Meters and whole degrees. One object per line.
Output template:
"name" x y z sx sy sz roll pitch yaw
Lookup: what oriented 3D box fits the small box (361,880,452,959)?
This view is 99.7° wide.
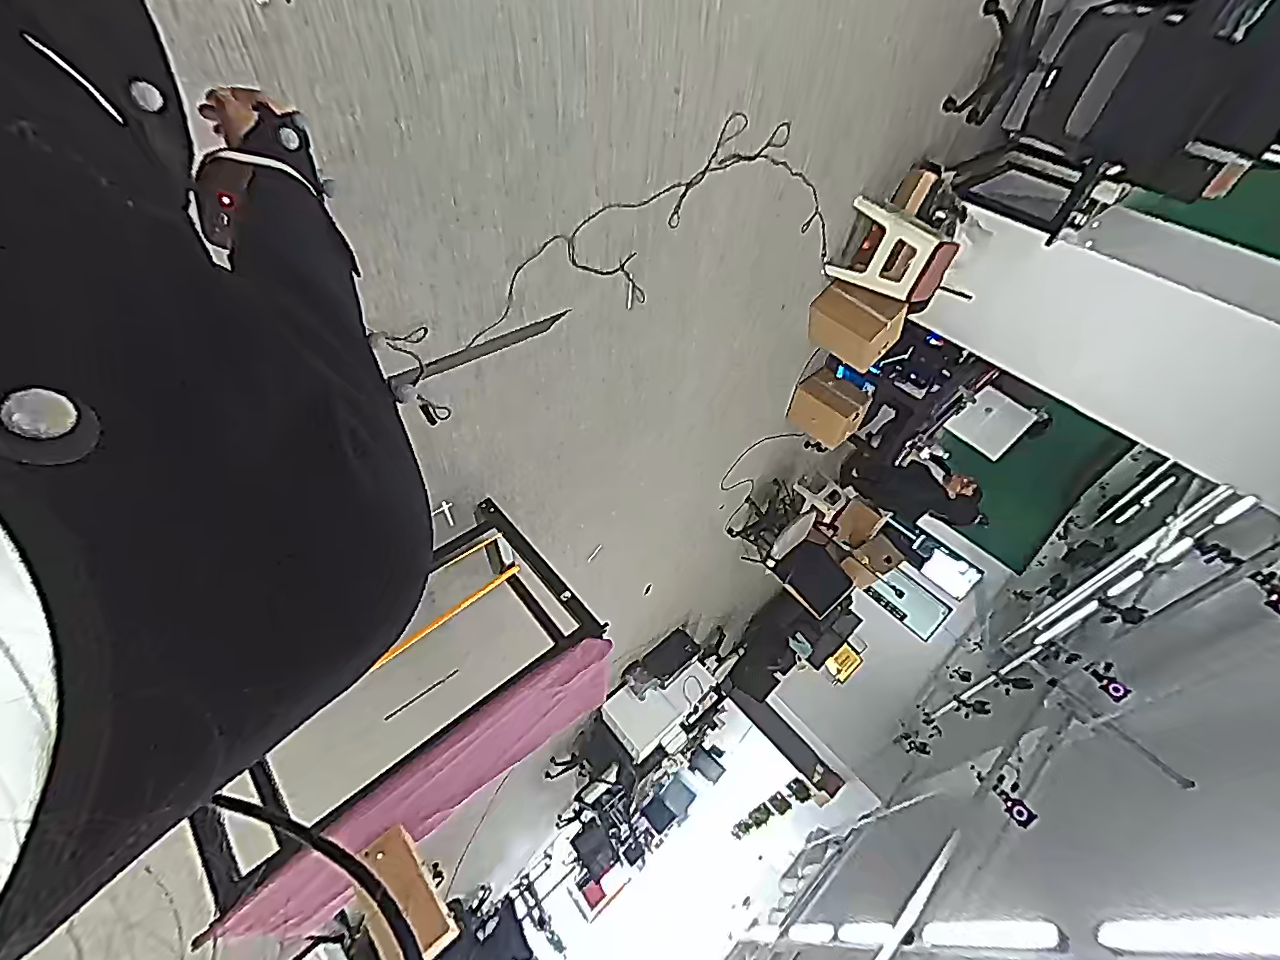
"small box" -0.656 1.278 1.530 0.168 0.176 0.179 -31 148 -32

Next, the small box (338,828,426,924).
"small box" -0.764 1.178 1.606 0.168 0.176 0.179 -30 148 -32
